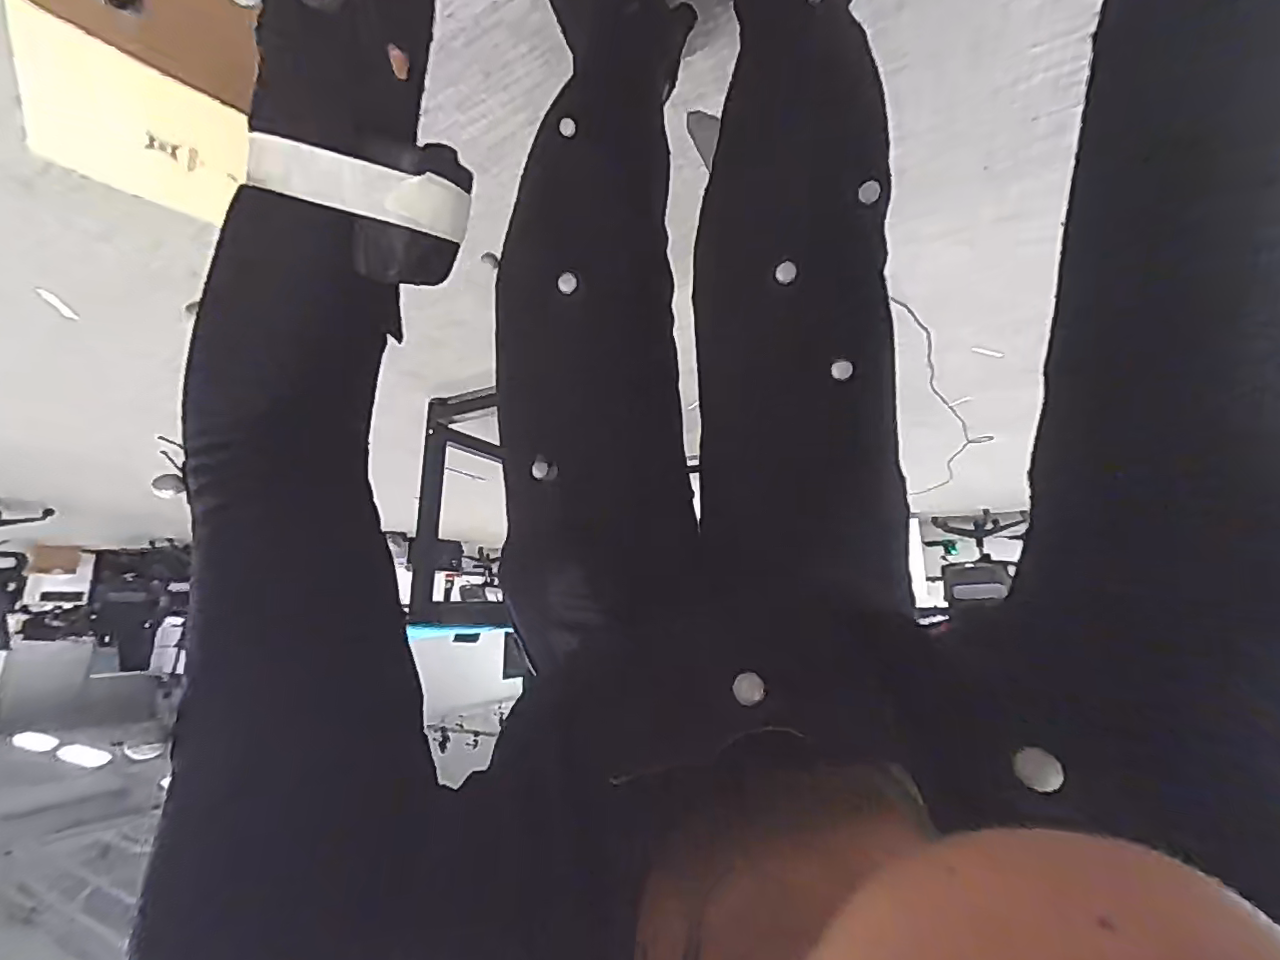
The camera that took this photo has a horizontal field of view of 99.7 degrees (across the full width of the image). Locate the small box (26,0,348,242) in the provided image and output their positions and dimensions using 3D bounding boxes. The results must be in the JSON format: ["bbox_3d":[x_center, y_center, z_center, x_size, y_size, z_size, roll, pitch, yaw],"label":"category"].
[{"bbox_3d":[-0.376,-0.349,0.462,0.168,0.176,0.179,-10,165,42],"label":"small box"}]
